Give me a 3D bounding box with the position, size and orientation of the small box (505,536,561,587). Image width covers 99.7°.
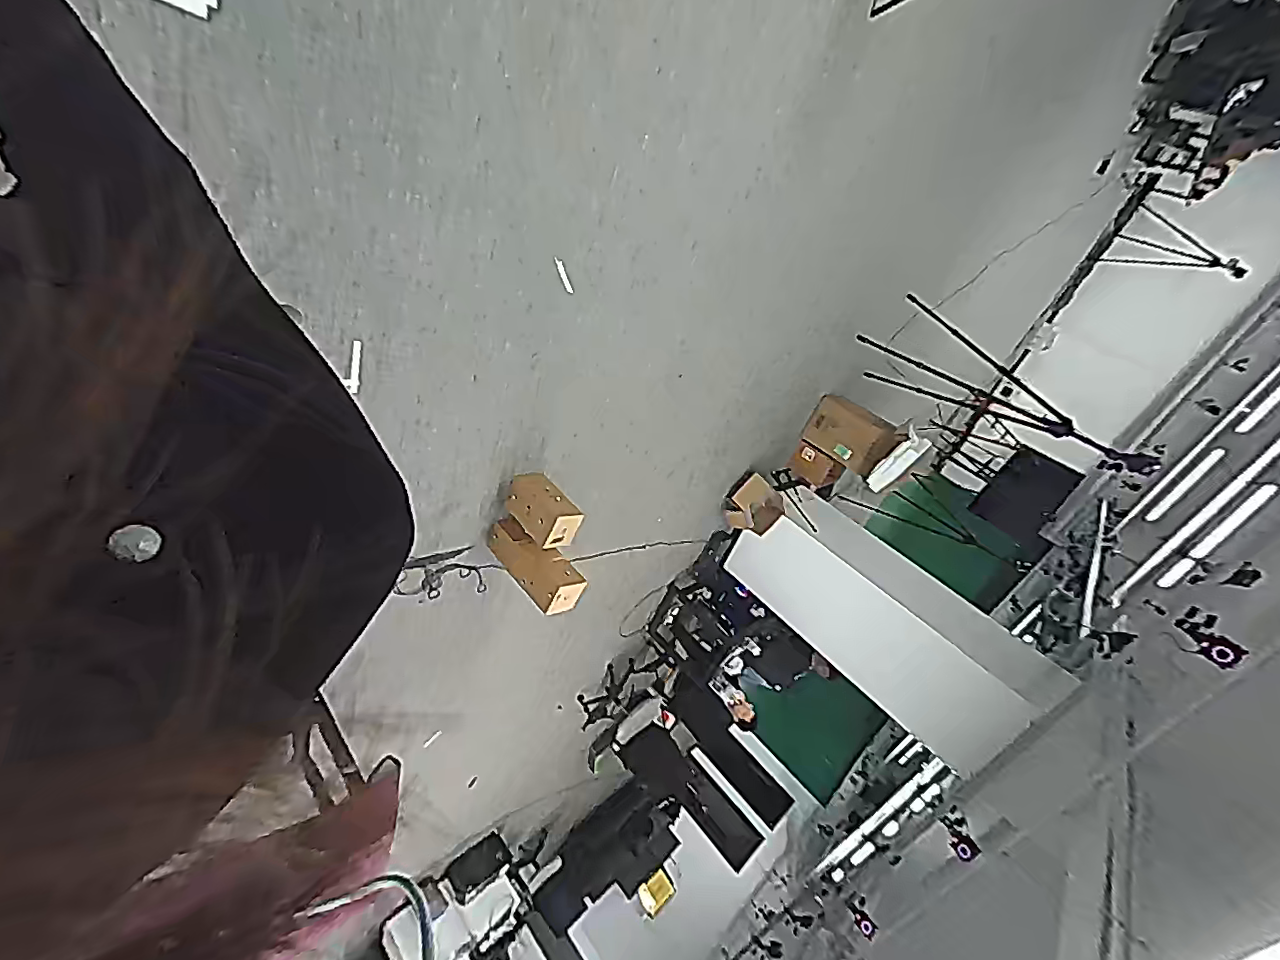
[{"bbox_3d":[-0.499,0.373,2.506,0.168,0.176,0.179,-9,131,-50],"label":"small box"}]

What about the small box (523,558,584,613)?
[{"bbox_3d":[-0.389,0.465,2.423,0.179,0.176,0.168,-1,125,-55],"label":"small box"}]

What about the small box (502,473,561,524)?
[{"bbox_3d":[-0.500,0.079,2.489,0.179,0.176,0.168,-5,128,-51],"label":"small box"}]

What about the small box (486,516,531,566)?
[{"bbox_3d":[-0.606,0.281,2.584,0.179,0.176,0.168,-10,132,-49],"label":"small box"}]

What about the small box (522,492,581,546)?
[{"bbox_3d":[-0.397,0.169,2.395,0.168,0.176,0.179,0,124,-54],"label":"small box"}]
